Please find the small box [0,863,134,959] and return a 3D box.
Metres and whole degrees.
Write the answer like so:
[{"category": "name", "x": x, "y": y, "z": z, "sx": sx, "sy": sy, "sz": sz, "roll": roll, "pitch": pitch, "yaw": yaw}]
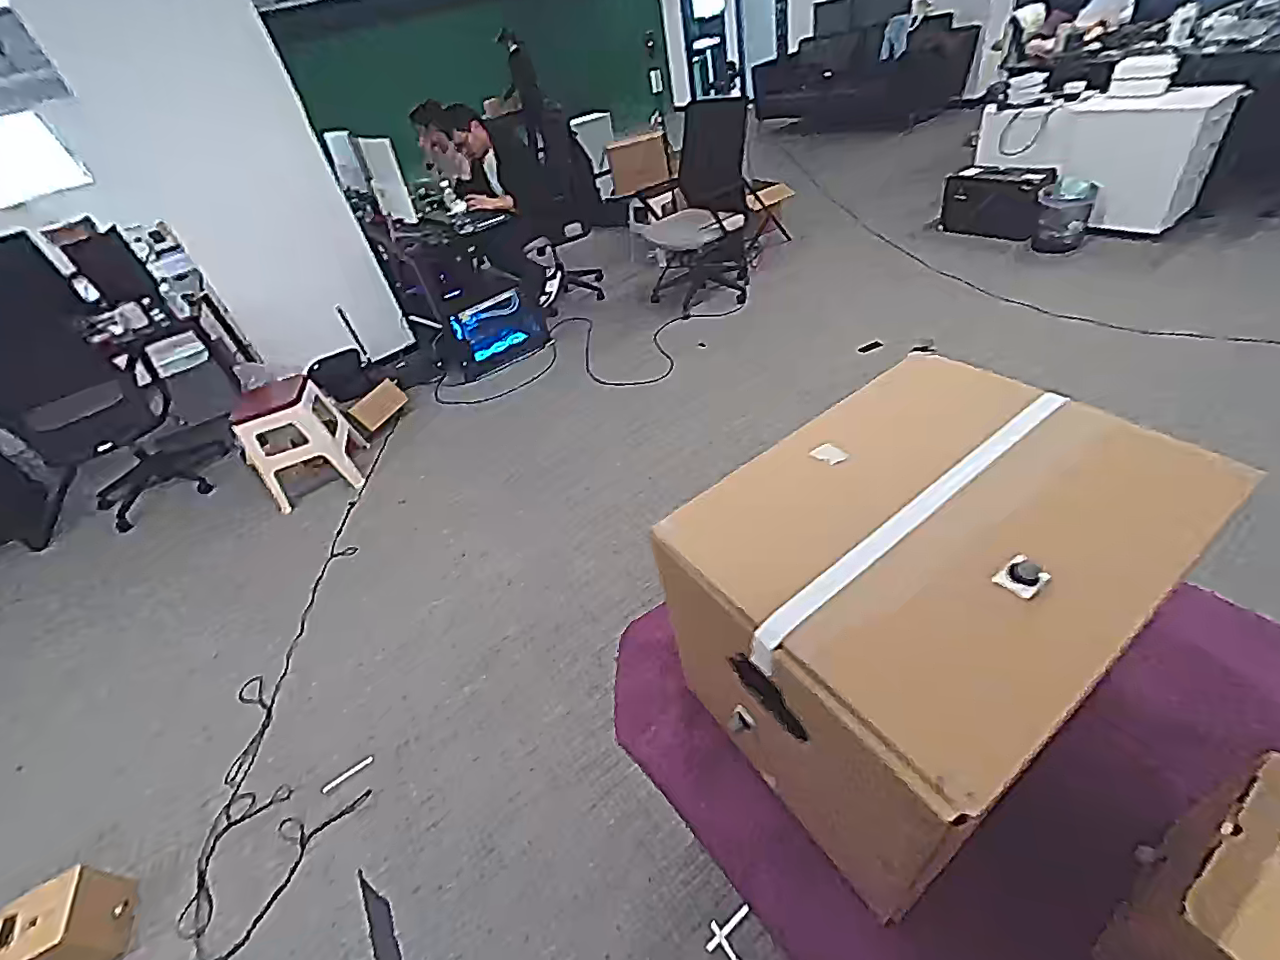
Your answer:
[{"category": "small box", "x": -1.336, "y": 1.037, "z": 1.242, "sx": 0.179, "sy": 0.176, "sz": 0.168, "roll": -27, "pitch": 42, "yaw": -15}]
